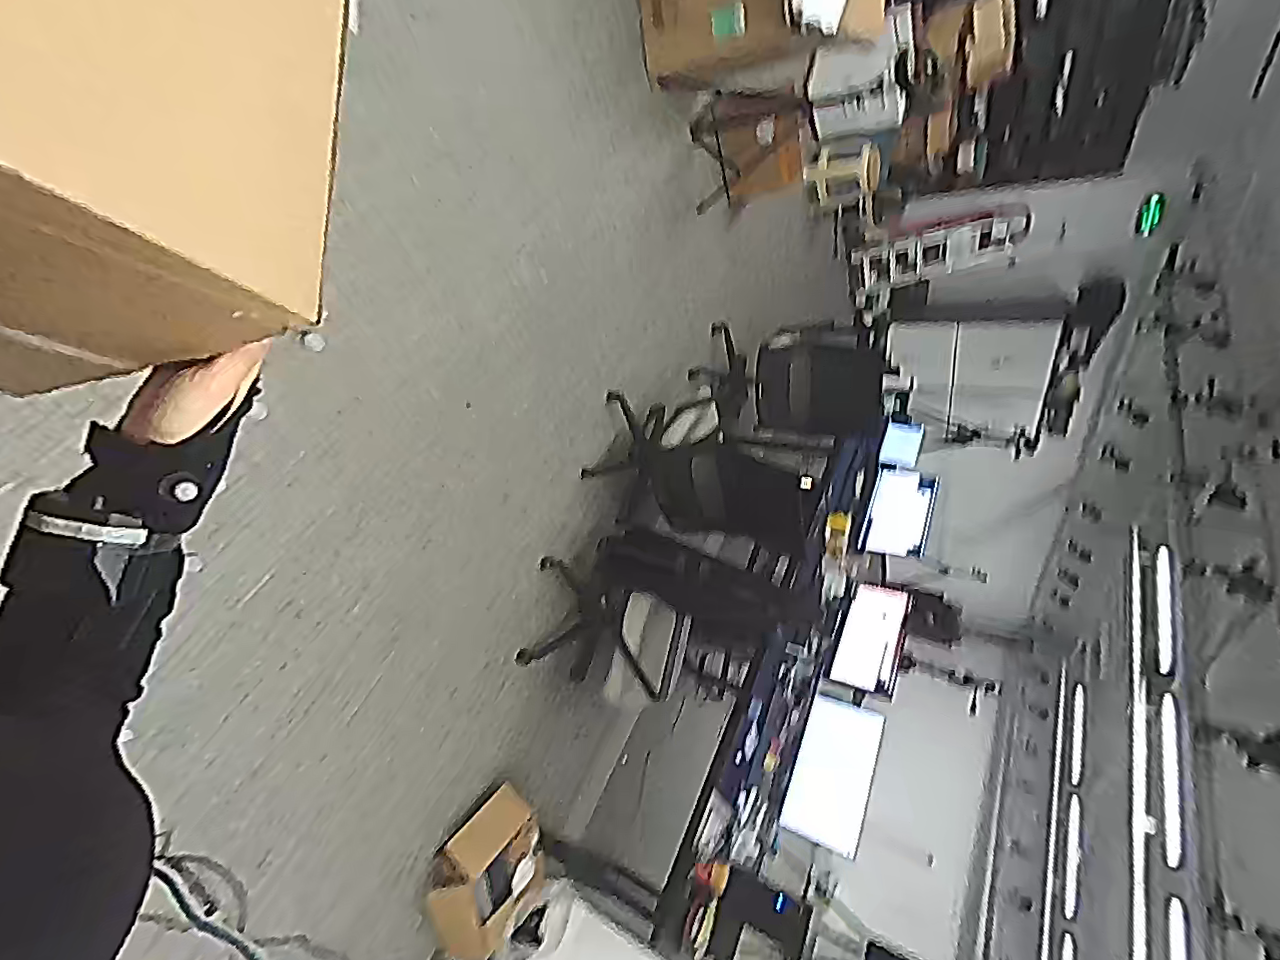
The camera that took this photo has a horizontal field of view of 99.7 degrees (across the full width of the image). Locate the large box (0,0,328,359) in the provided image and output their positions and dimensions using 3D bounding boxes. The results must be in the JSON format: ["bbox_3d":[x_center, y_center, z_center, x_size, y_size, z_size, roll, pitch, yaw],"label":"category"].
[{"bbox_3d":[-0.395,-0.273,0.190,0.408,0.320,0.320,19,69,-69],"label":"large box"}]
